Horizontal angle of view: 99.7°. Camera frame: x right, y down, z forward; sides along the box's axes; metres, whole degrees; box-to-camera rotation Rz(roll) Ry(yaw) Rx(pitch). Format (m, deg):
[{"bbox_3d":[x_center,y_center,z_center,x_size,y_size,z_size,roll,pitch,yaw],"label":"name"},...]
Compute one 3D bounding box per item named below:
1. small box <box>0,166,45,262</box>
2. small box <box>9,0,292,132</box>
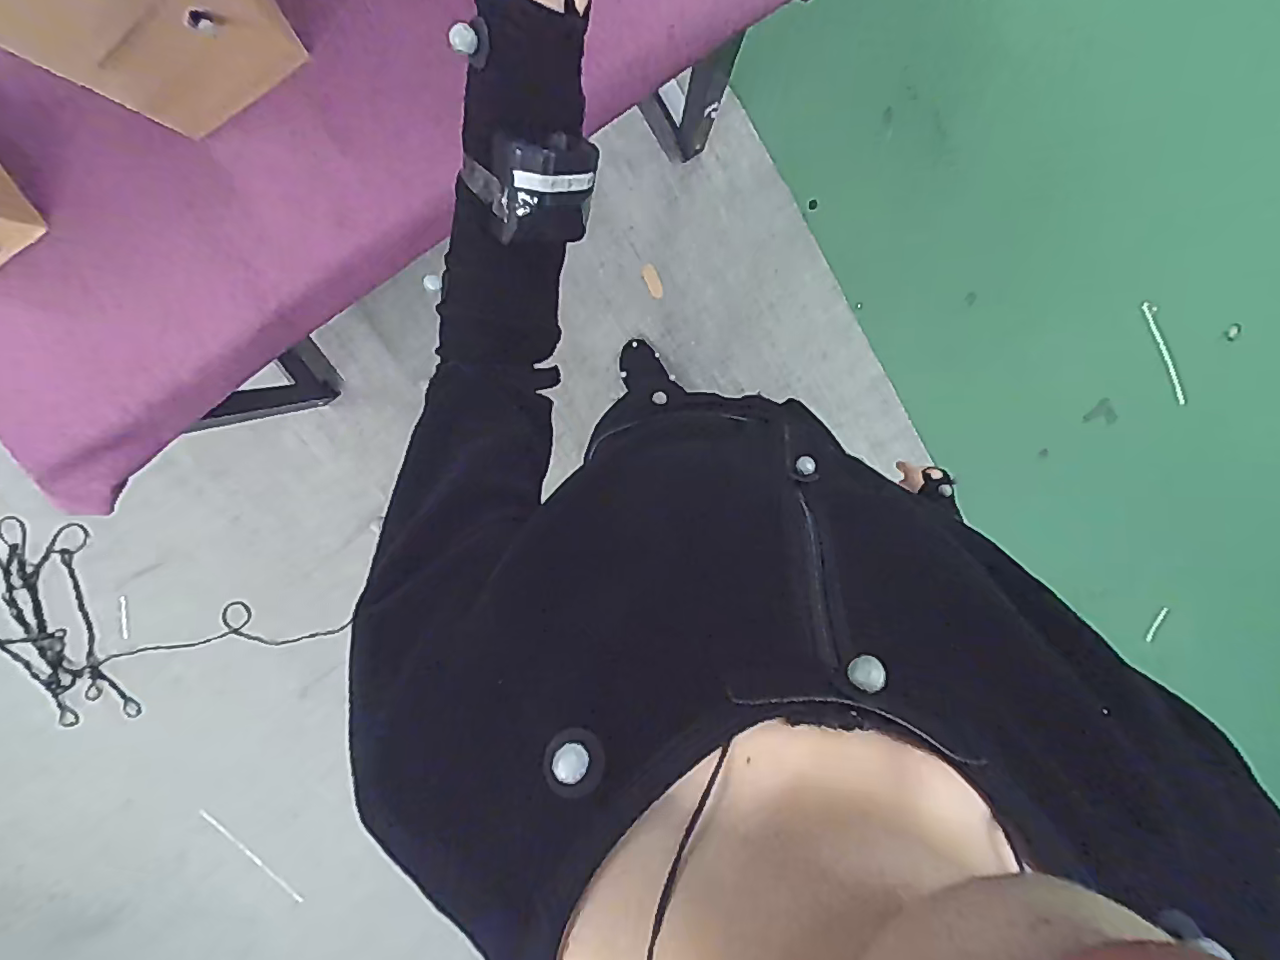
[{"bbox_3d":[-0.844,-0.325,0.591,0.168,0.176,0.179,-30,102,7],"label":"small box"},{"bbox_3d":[-0.499,-0.504,0.548,0.179,0.176,0.168,-30,102,7],"label":"small box"}]
